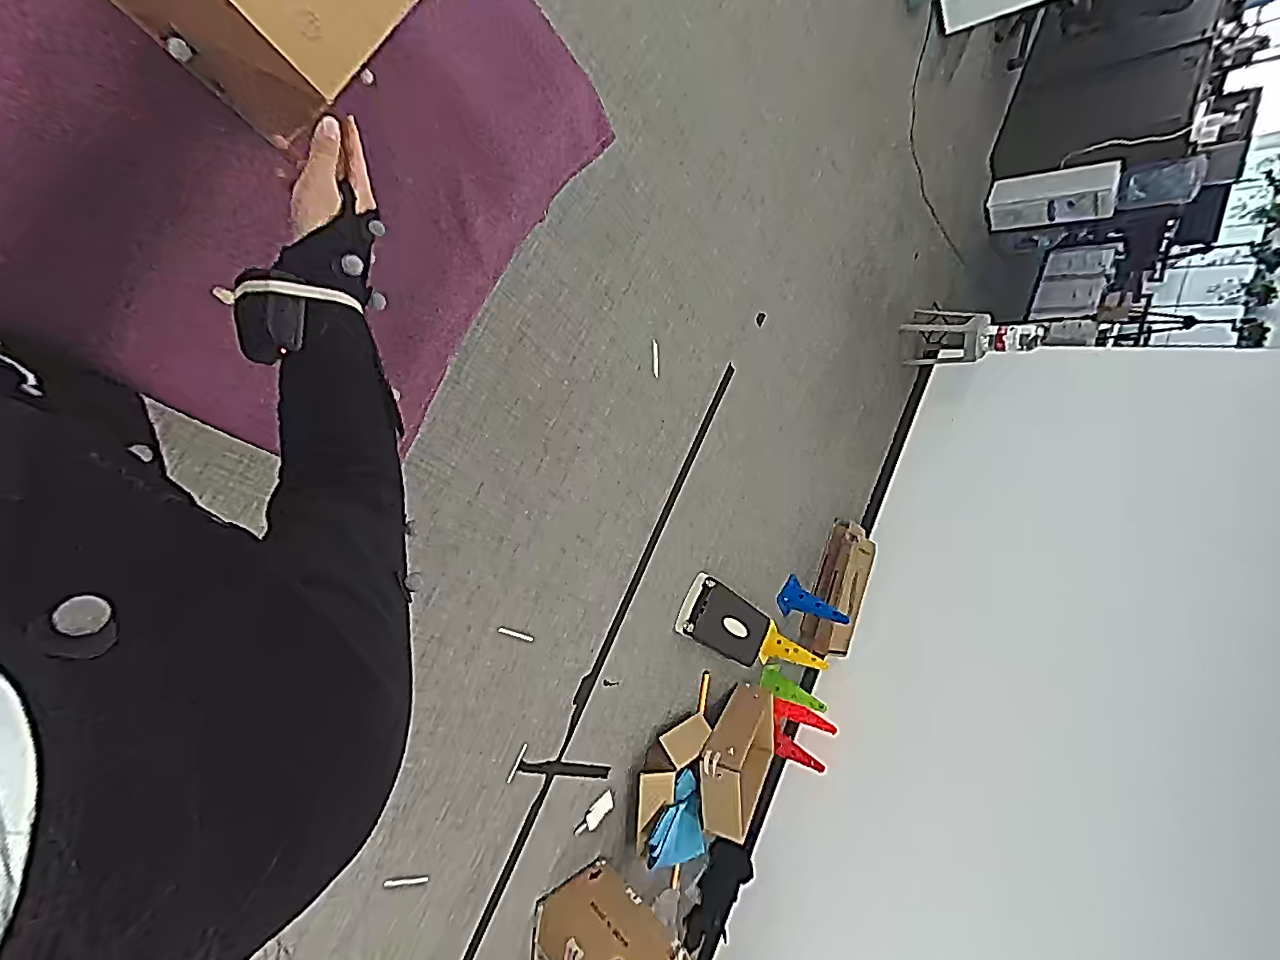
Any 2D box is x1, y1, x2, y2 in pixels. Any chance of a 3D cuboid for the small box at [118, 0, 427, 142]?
[{"bbox_3d":[-0.305,-0.427,0.448,0.168,0.176,0.179,42,71,-44],"label":"small box"}]
